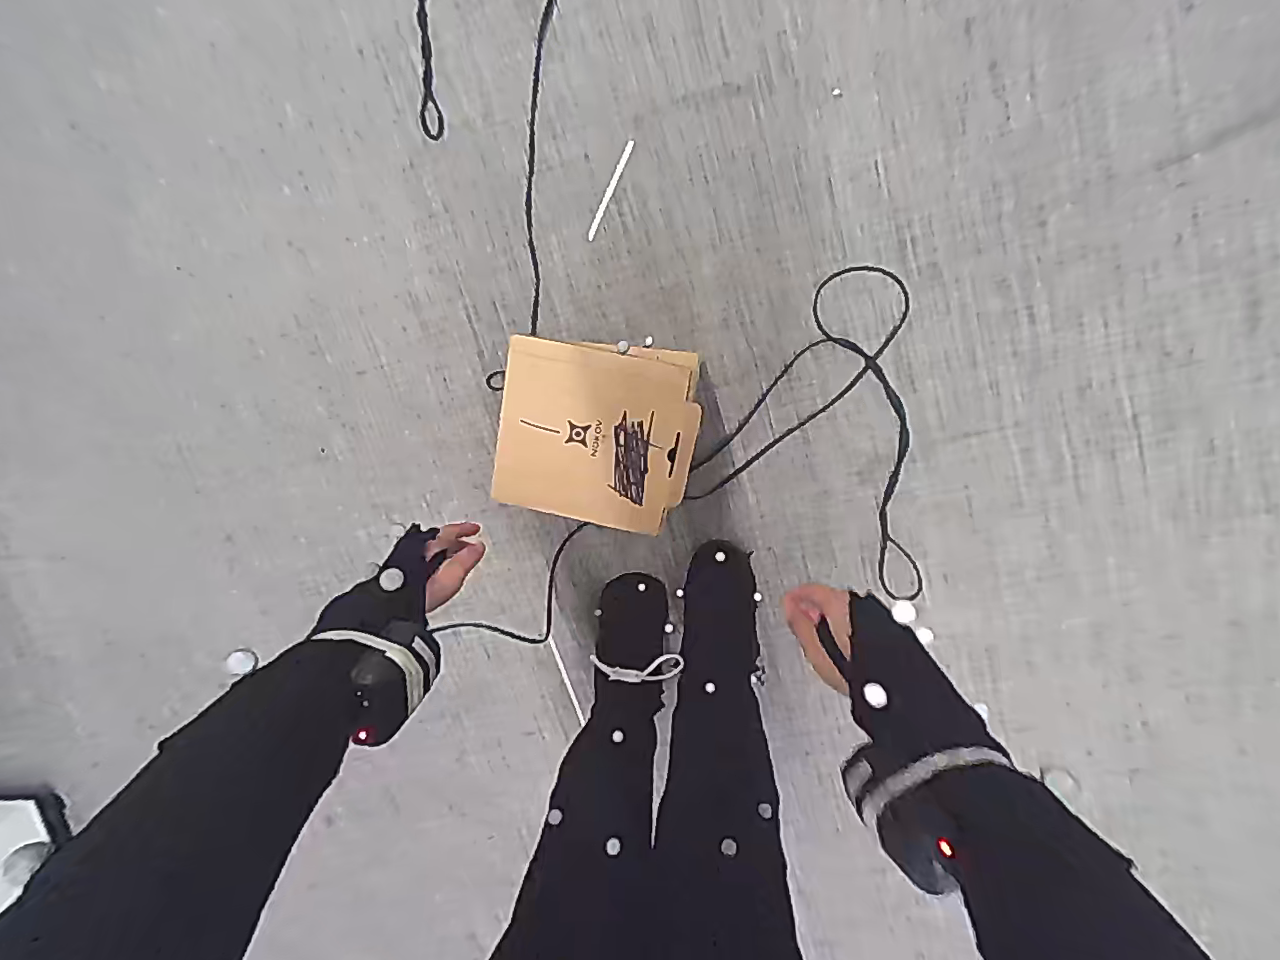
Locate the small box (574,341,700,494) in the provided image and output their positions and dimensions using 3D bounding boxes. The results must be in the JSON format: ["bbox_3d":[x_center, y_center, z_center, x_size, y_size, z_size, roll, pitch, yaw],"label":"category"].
[{"bbox_3d":[-0.008,-0.093,0.749,0.168,0.176,0.179,7,103,6],"label":"small box"}]

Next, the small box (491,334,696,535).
[{"bbox_3d":[-0.039,-0.057,0.591,0.179,0.176,0.168,12,103,5],"label":"small box"}]
